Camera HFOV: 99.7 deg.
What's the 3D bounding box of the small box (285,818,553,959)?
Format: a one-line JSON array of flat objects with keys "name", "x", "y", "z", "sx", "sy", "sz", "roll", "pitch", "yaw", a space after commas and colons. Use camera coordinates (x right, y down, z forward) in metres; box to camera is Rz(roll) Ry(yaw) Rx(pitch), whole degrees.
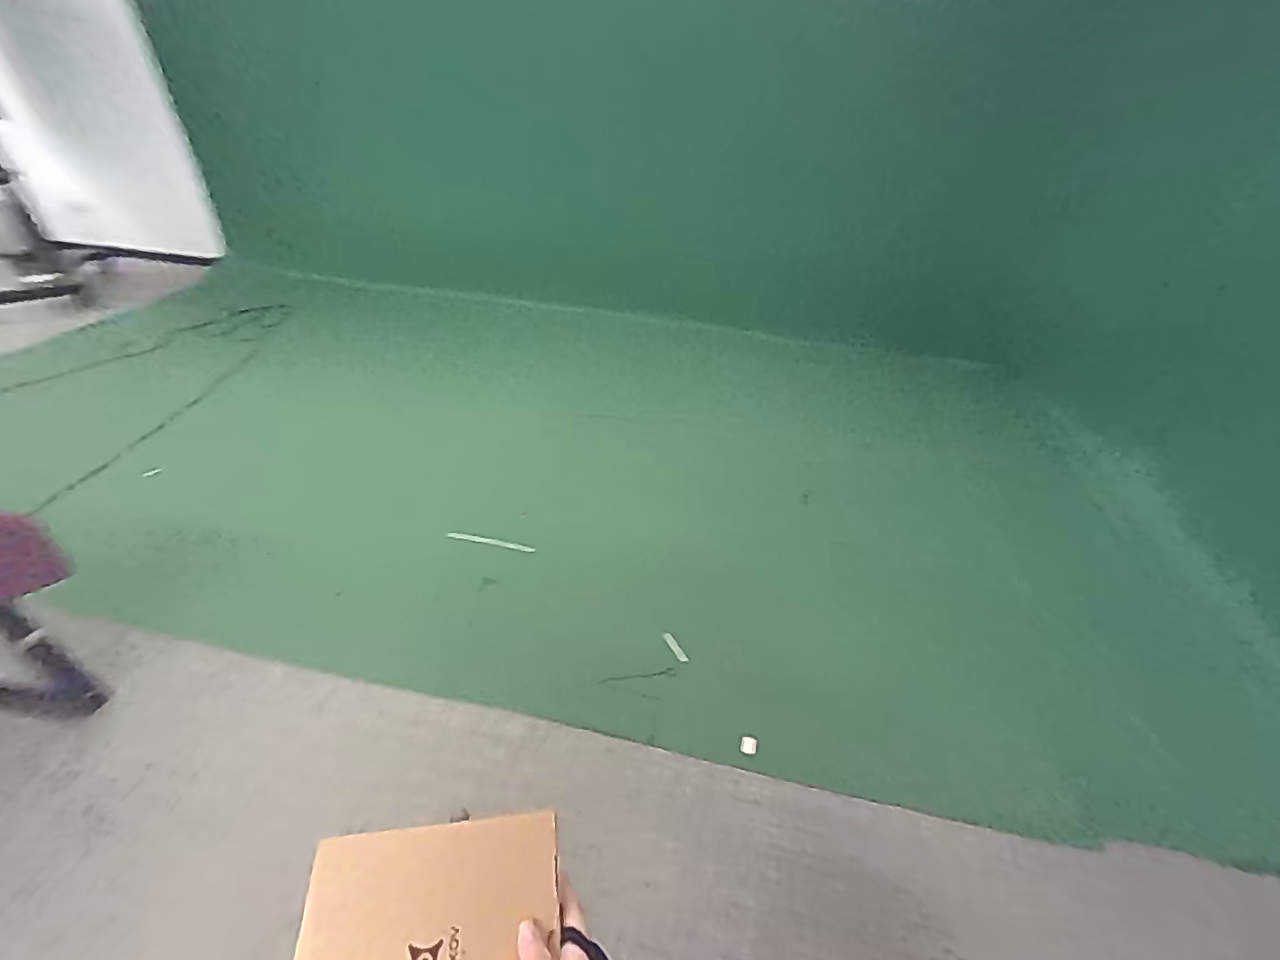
[{"name": "small box", "x": -0.157, "y": 0.384, "z": 0.412, "sx": 0.179, "sy": 0.176, "sz": 0.168, "roll": 0, "pitch": 45, "yaw": -14}]
